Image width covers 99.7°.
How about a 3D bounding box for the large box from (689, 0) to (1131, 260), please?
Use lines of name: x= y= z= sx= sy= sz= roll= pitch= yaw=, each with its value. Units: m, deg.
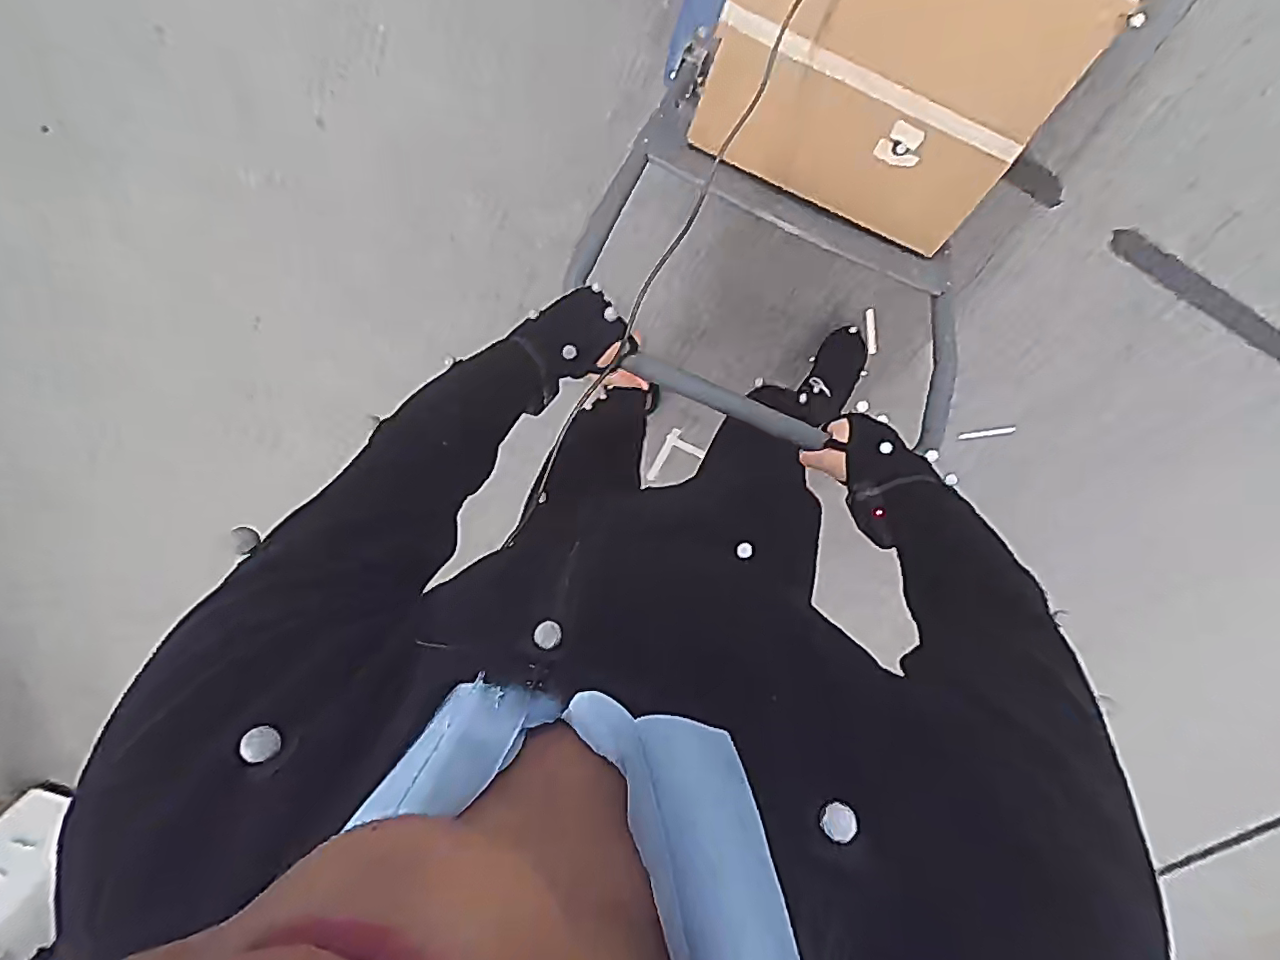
large box: x=0.329 y=-0.594 z=0.762 sx=0.408 sy=0.320 sz=0.320 roll=22 pitch=143 yaw=-6
